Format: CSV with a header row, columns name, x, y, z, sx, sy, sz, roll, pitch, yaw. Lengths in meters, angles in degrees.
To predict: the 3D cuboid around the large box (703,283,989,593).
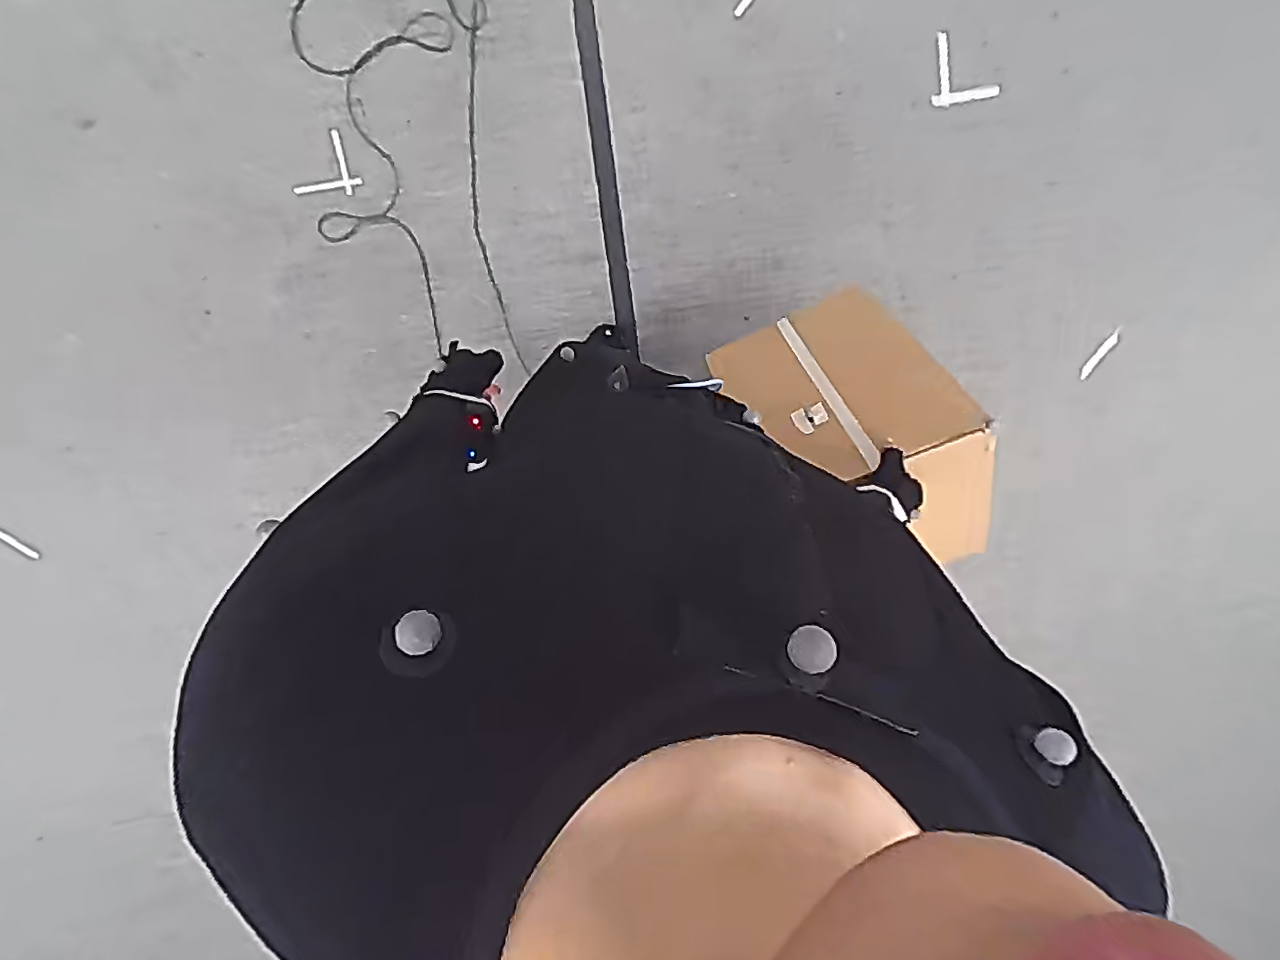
name,x,y,z,sx,sy,sz,roll,pitch,yaw
large box,0.350,-0.074,0.982,0.320,0.408,0.320,-24,137,12
